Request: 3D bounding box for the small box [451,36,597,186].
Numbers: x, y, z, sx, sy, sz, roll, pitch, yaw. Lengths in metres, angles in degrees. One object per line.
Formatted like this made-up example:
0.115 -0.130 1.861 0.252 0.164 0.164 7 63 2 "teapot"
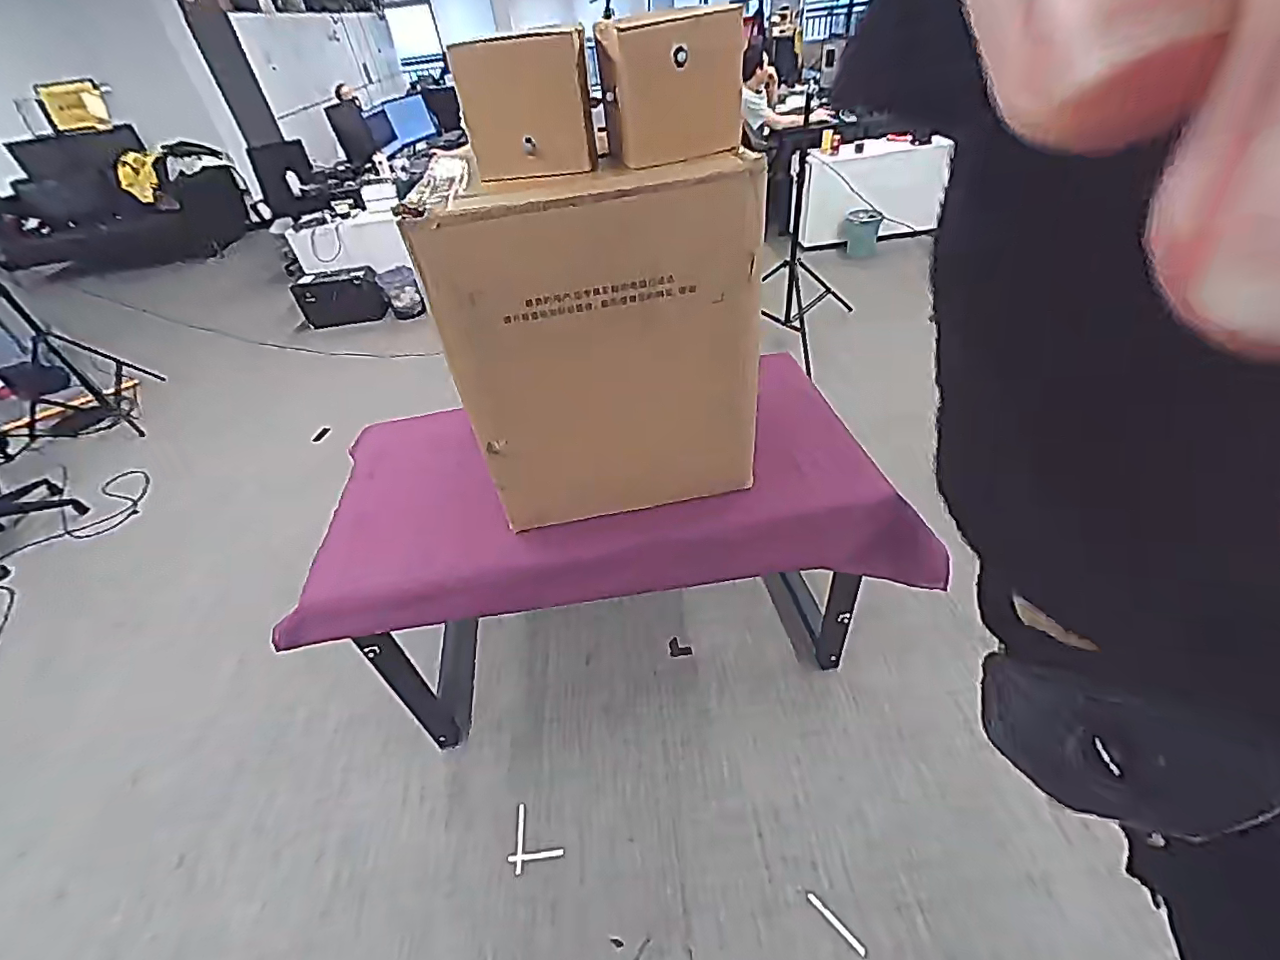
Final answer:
-0.164 -0.570 0.839 0.179 0.176 0.168 -2 41 4 "small box"
